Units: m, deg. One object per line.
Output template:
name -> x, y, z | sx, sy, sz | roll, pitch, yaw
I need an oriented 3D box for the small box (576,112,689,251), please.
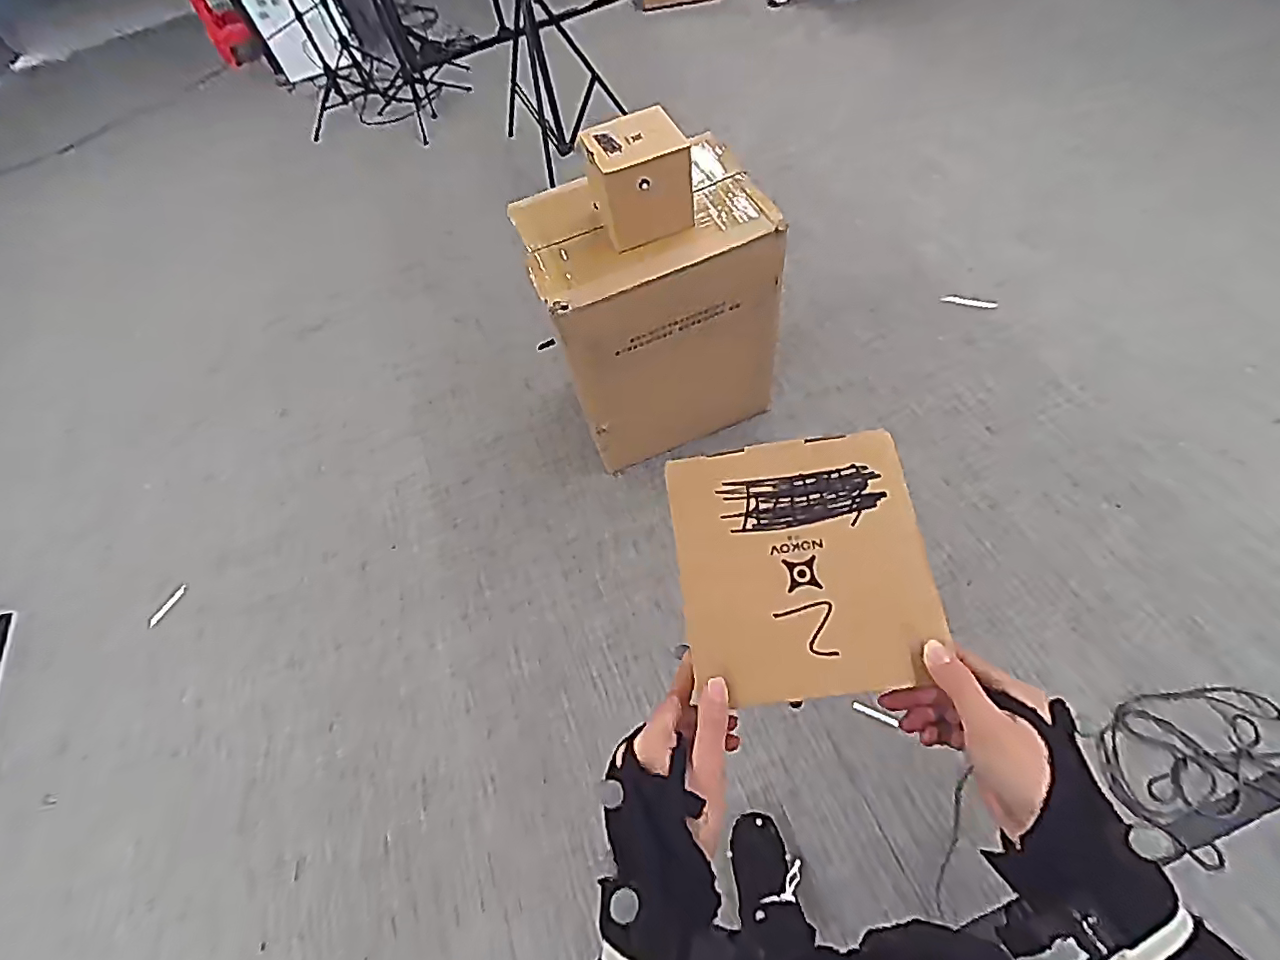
small box -> -0.010, -0.600, 1.101 | 0.179, 0.176, 0.168 | -21, 60, -4
